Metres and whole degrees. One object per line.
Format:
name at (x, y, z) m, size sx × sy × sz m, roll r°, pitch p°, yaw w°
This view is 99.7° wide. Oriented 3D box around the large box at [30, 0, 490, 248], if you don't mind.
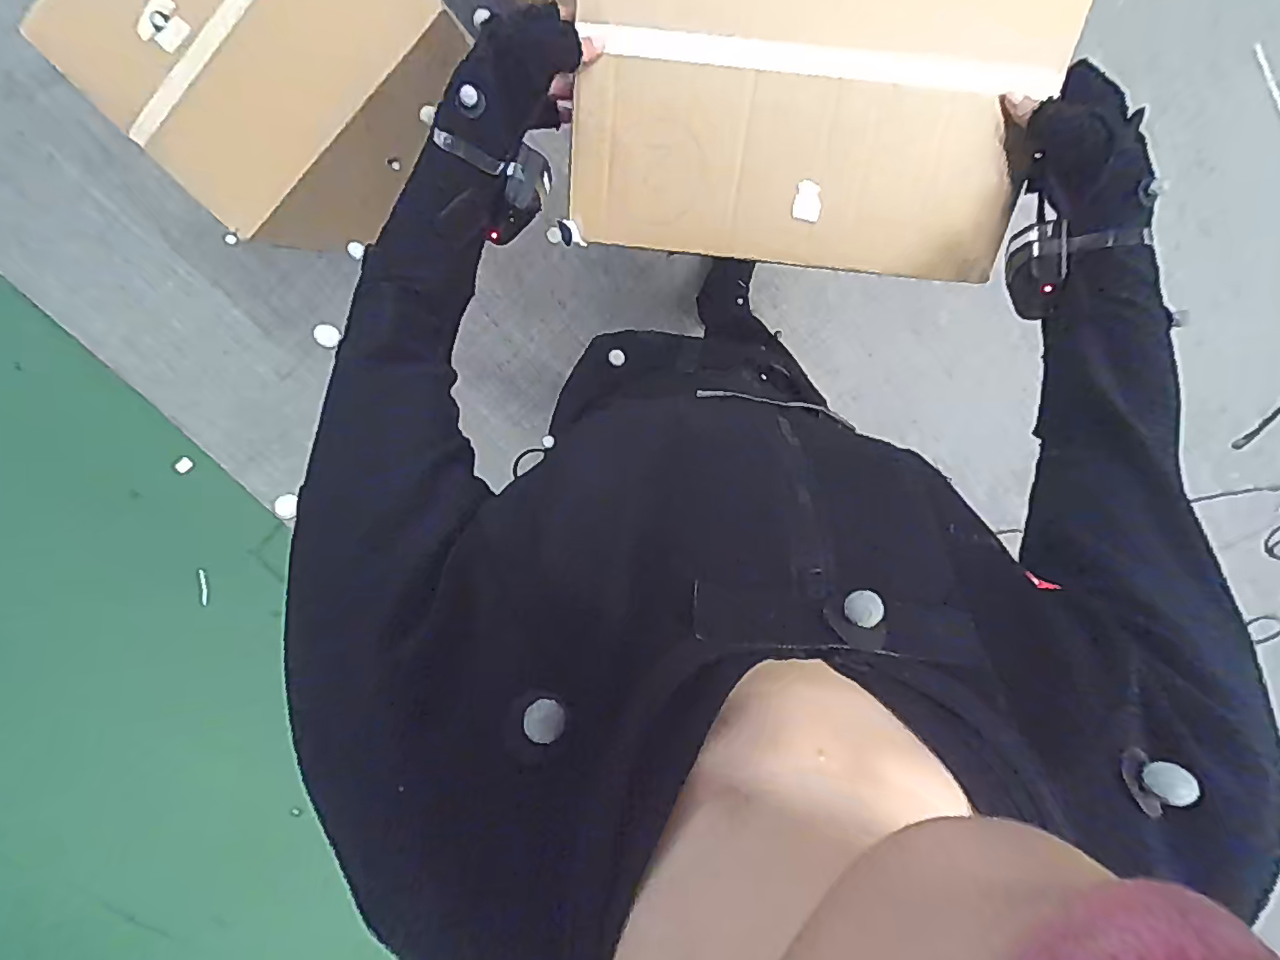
large box at (-0.492, -0.606, 0.790) m, size 0.408 × 0.320 × 0.320 m, roll -39°, pitch 106°, yaw 12°
